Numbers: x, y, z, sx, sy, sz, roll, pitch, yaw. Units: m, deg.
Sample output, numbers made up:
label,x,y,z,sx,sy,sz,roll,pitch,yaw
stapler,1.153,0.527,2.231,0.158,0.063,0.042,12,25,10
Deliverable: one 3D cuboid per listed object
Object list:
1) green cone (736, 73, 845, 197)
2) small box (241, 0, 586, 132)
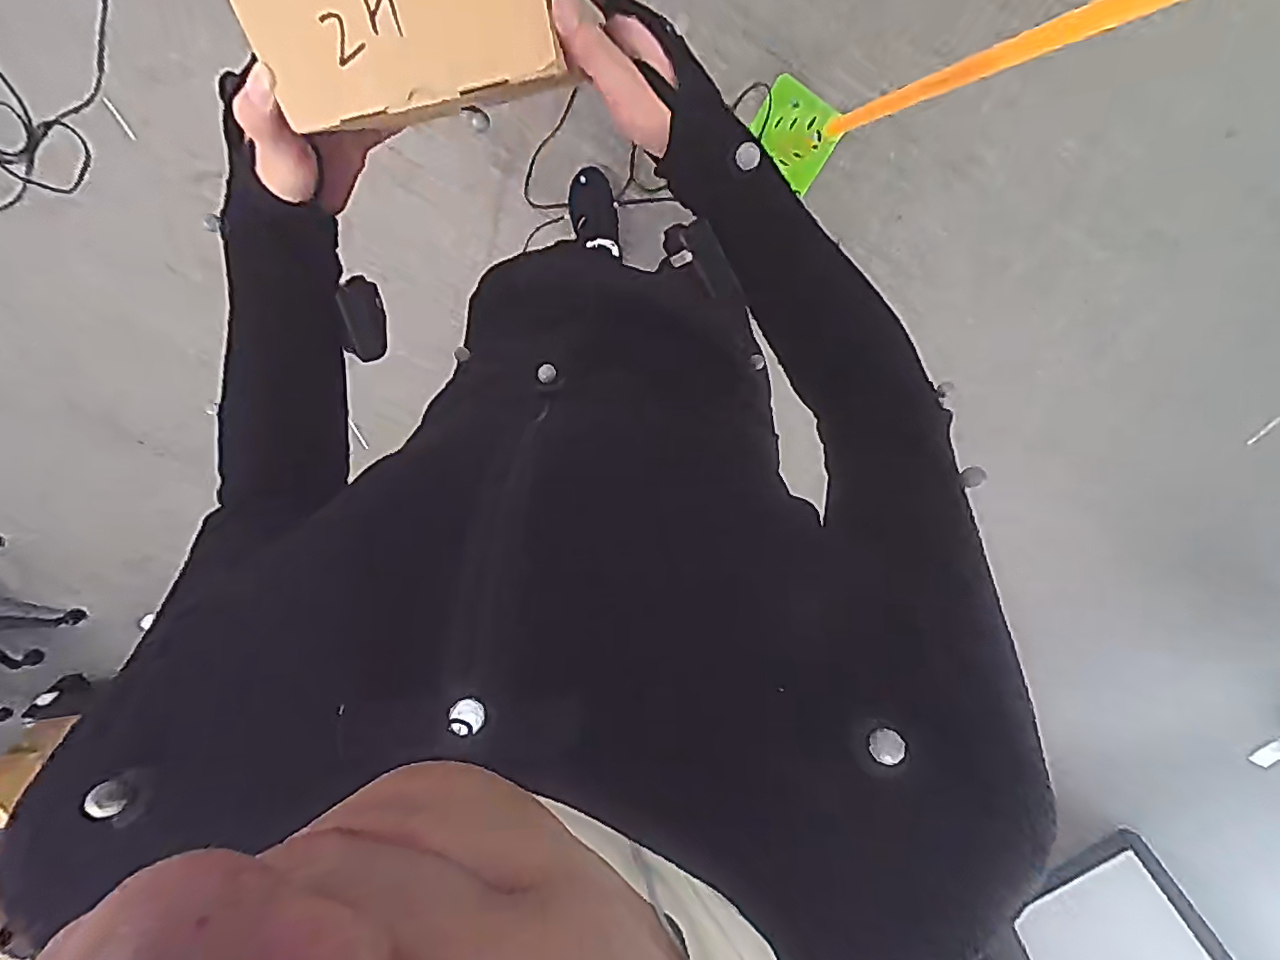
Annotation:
label,x,y,z,sx,sy,sz,roll,pitch,yaw
green cone,0.355,-0.738,1.141,0.202,0.368,0.200,27,116,-13
small box,-0.136,-0.333,0.335,0.168,0.176,0.179,-7,124,7
